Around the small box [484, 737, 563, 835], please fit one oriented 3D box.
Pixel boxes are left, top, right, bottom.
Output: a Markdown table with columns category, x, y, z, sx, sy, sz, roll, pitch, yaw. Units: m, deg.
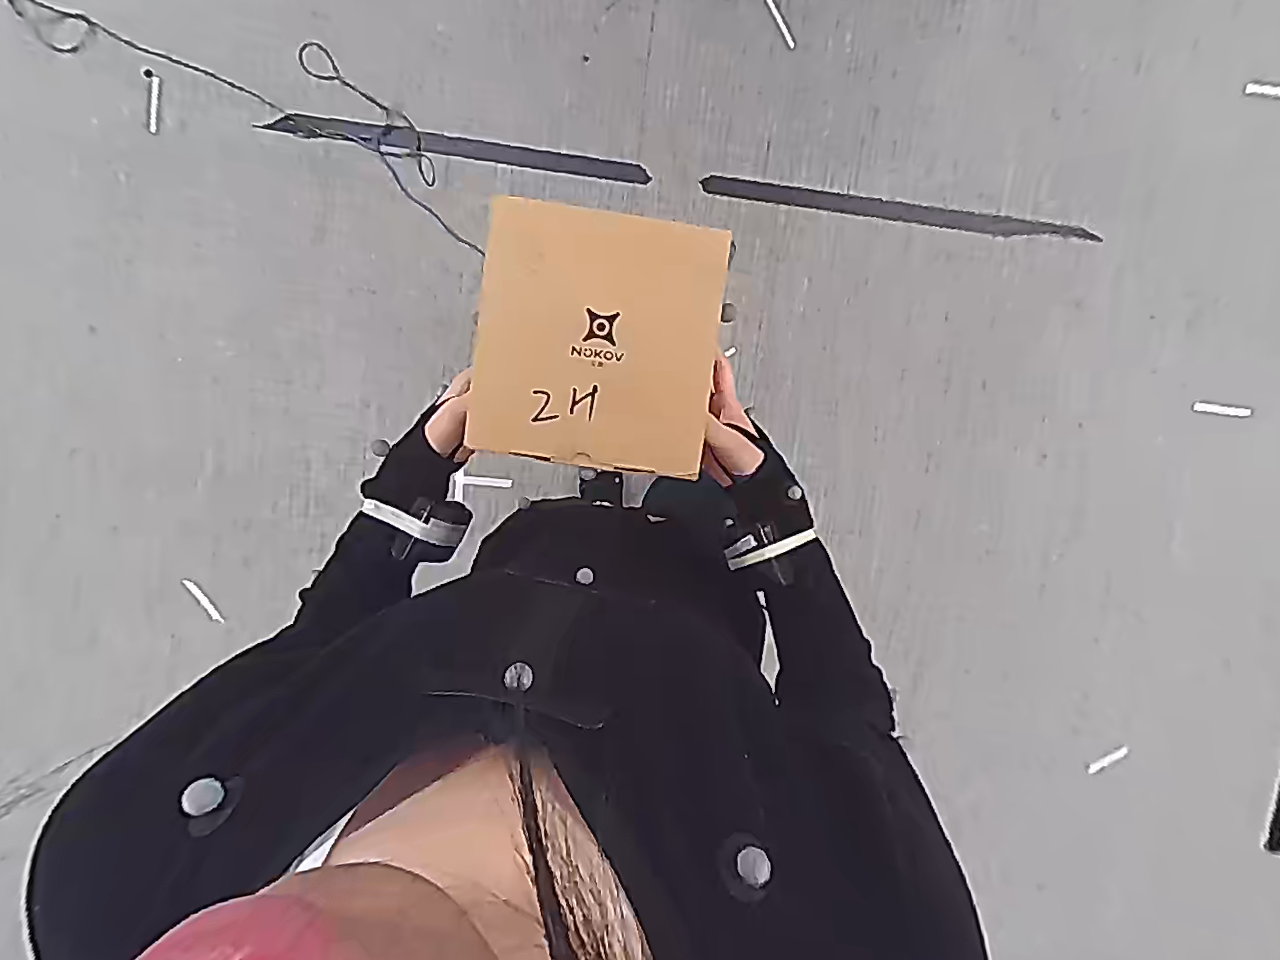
| category | x | y | z | sx | sy | sz | roll | pitch | yaw |
| --- | --- | --- | --- | --- | --- | --- | --- | --- | --- |
| small box | -0.312 | 0.821 | 1.465 | 0.179 | 0.176 | 0.168 | 2 | 96 | 1 |

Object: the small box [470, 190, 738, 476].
| category | x | y | z | sx | sy | sz | roll | pitch | yaw |
| --- | --- | --- | --- | --- | --- | --- | --- | --- | --- |
| small box | -0.029 | -0.103 | 0.451 | 0.168 | 0.176 | 0.179 | 8 | 93 | -3 |
